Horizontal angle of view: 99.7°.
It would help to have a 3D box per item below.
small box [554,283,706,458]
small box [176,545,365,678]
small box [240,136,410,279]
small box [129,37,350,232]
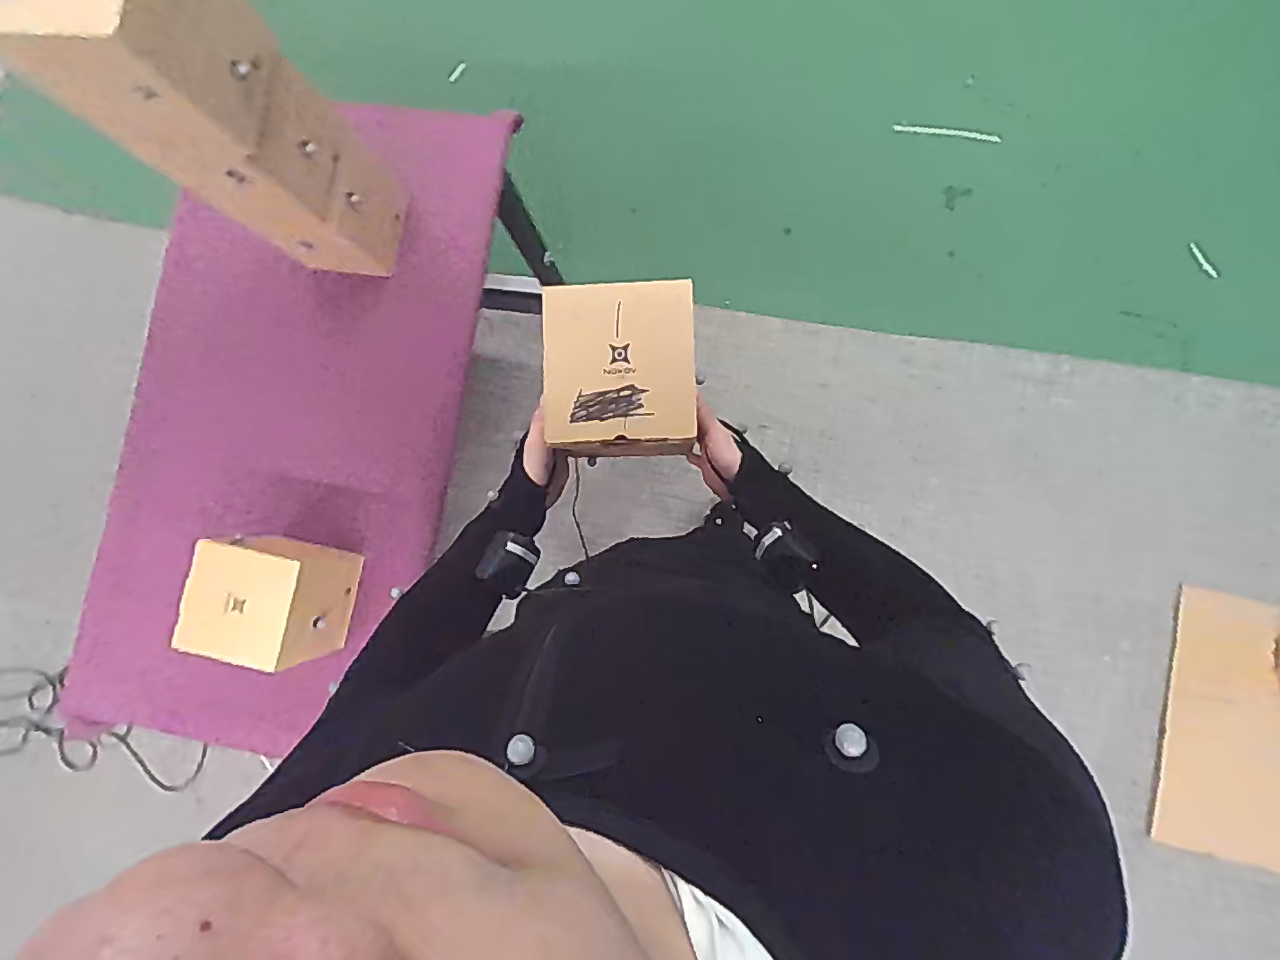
[{"bbox_3d":[-0.006,-0.118,0.654,0.168,0.176,0.179,-1,87,3],"label":"small box"},{"bbox_3d":[-0.587,0.201,0.882,0.179,0.176,0.168,10,86,7],"label":"small box"},{"bbox_3d":[-0.535,-0.465,0.937,0.179,0.176,0.168,8,87,8],"label":"small box"},{"bbox_3d":[-0.555,-0.480,0.774,0.179,0.176,0.168,10,85,8],"label":"small box"}]
